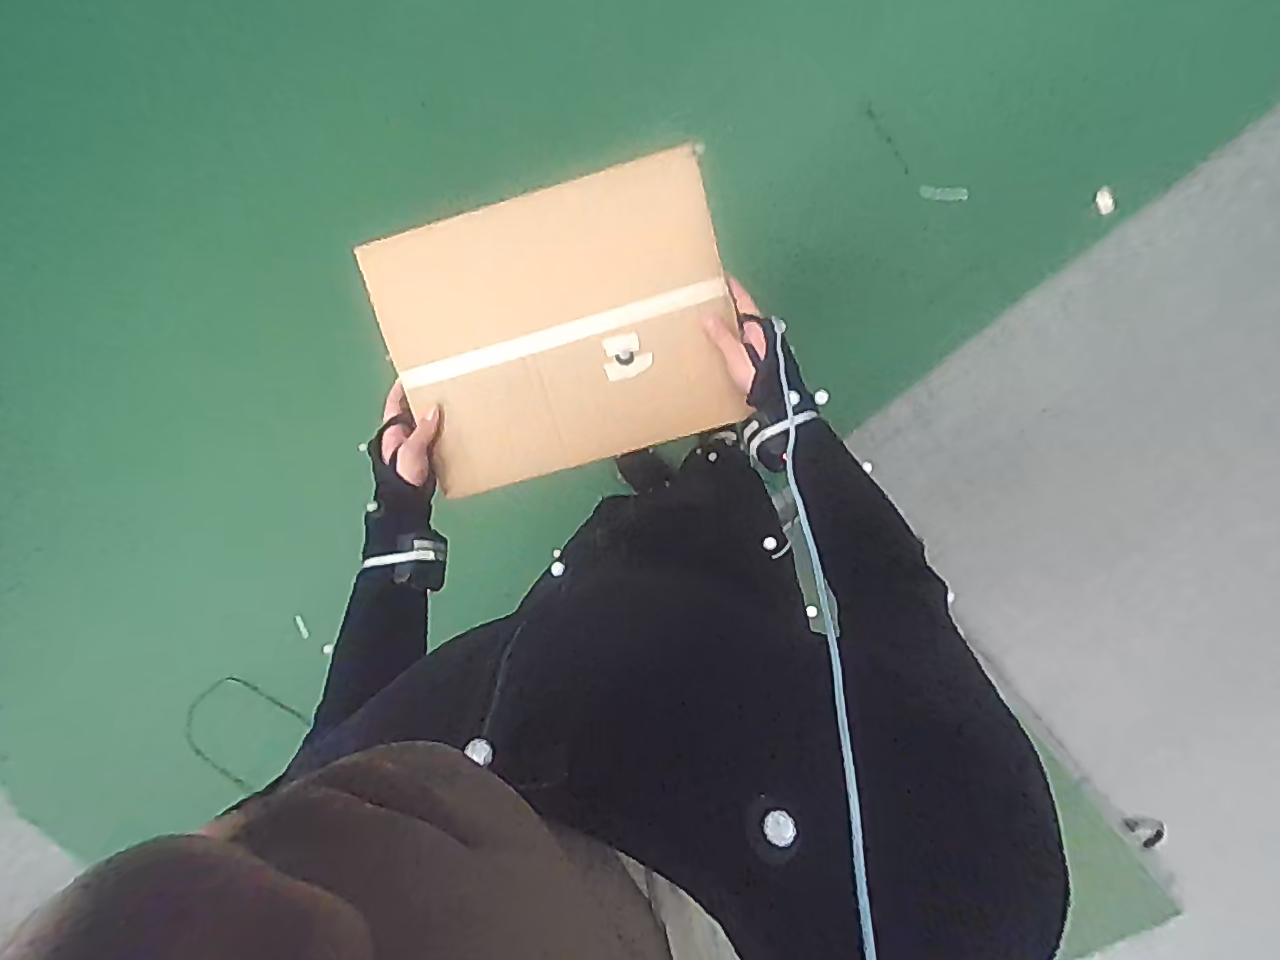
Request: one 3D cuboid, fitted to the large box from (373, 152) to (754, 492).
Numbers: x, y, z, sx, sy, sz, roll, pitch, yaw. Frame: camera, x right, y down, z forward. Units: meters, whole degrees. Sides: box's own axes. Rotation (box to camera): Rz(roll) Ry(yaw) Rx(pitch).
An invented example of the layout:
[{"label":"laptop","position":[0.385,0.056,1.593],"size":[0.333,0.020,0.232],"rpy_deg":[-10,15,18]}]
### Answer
[{"label":"large box","position":[-0.089,-0.204,0.798],"size":[0.408,0.320,0.320],"rpy_deg":[-15,101,2]}]
